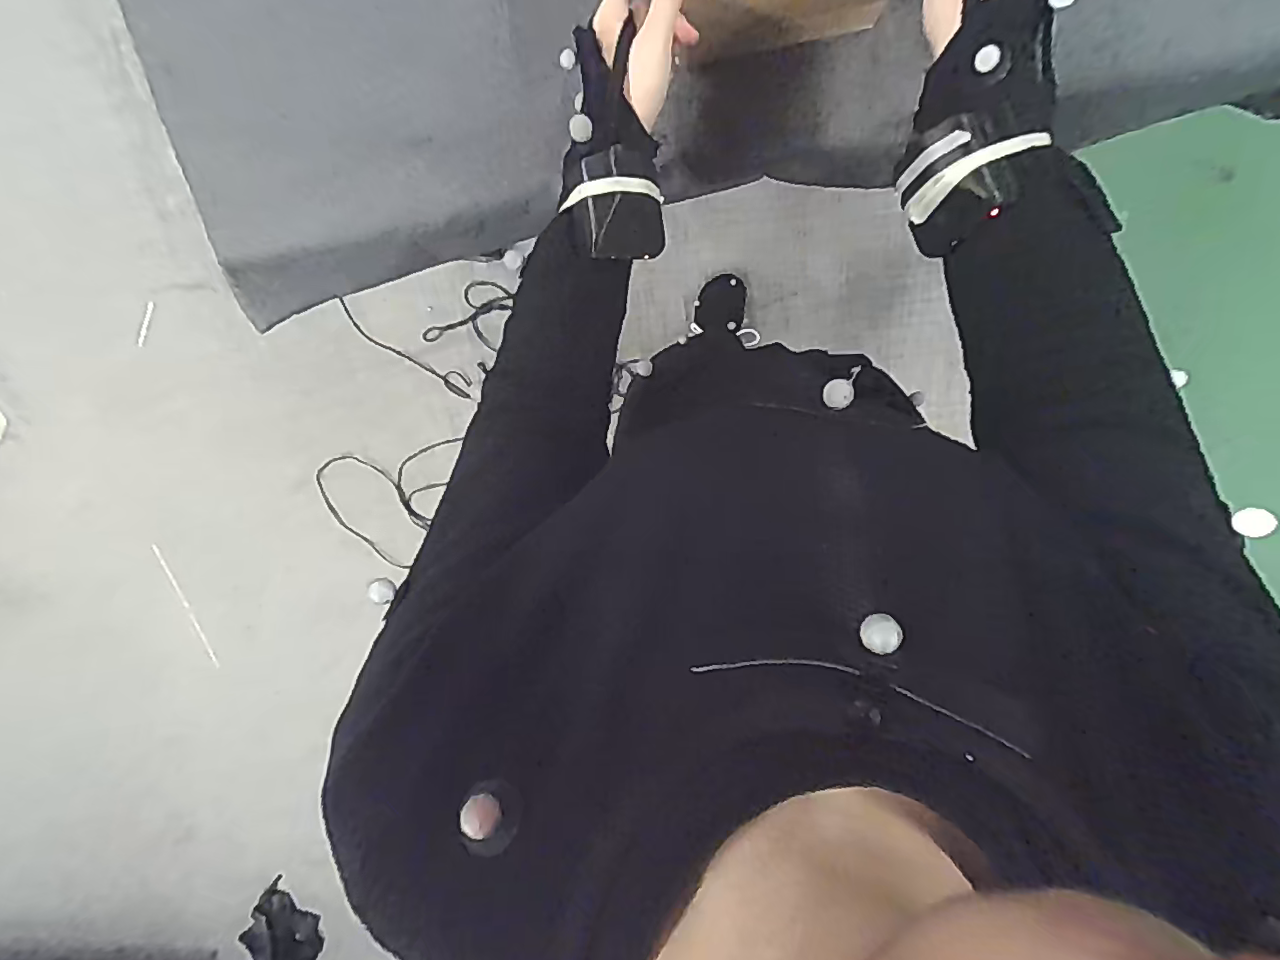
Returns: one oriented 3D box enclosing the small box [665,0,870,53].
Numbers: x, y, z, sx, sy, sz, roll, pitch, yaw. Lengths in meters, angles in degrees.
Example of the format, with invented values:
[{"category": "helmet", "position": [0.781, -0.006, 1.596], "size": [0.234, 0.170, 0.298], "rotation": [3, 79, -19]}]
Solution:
[{"category": "small box", "position": [0.095, -0.437, 0.377], "size": [0.179, 0.176, 0.168], "rotation": [-6, 109, 9]}]
